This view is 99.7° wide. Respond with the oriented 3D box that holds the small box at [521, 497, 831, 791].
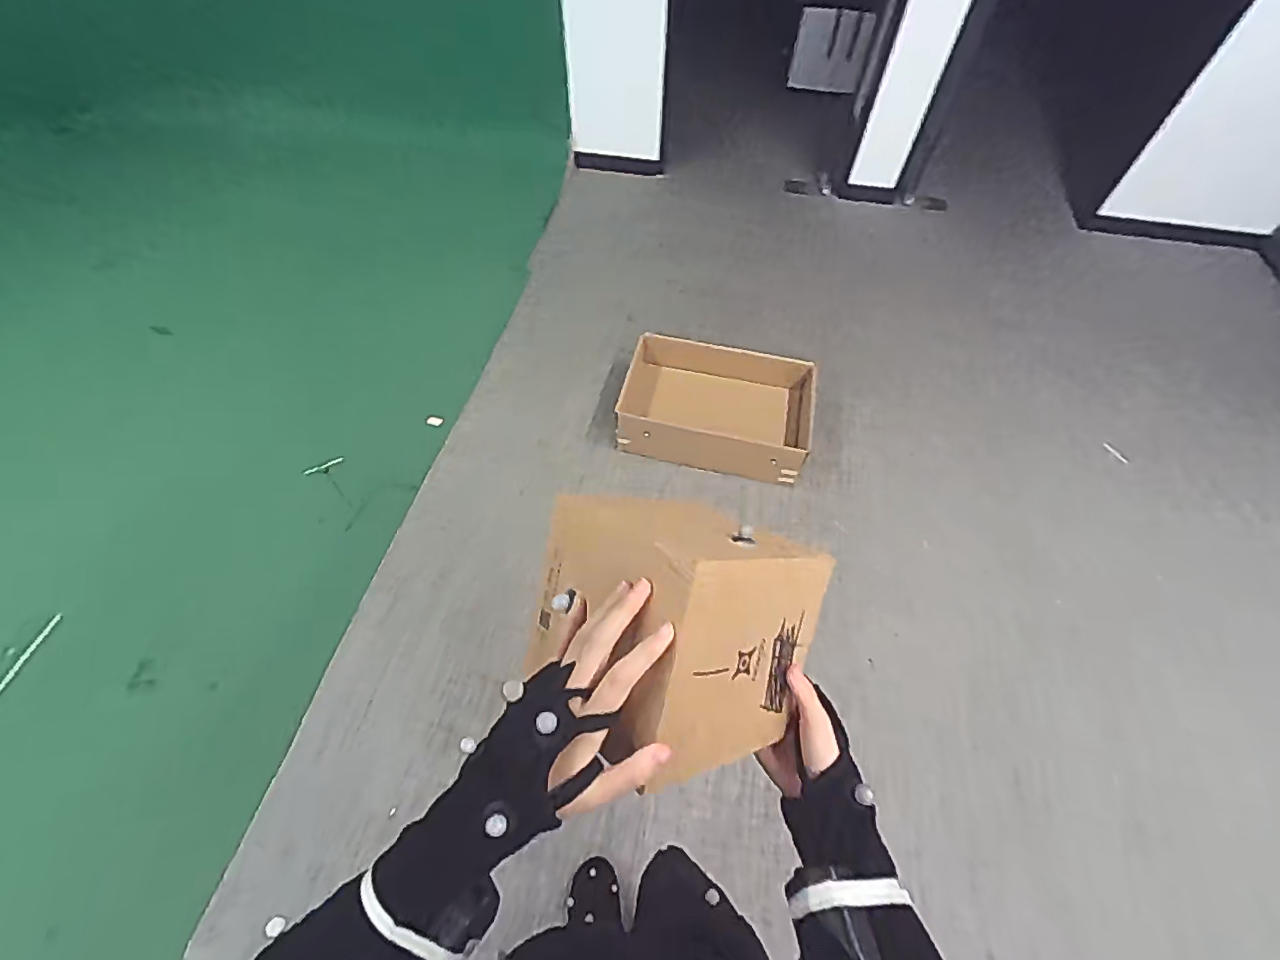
[{"bbox_3d":[0.026,0.116,0.462,0.179,0.168,0.176,7,9,-41],"label":"small box"}]
